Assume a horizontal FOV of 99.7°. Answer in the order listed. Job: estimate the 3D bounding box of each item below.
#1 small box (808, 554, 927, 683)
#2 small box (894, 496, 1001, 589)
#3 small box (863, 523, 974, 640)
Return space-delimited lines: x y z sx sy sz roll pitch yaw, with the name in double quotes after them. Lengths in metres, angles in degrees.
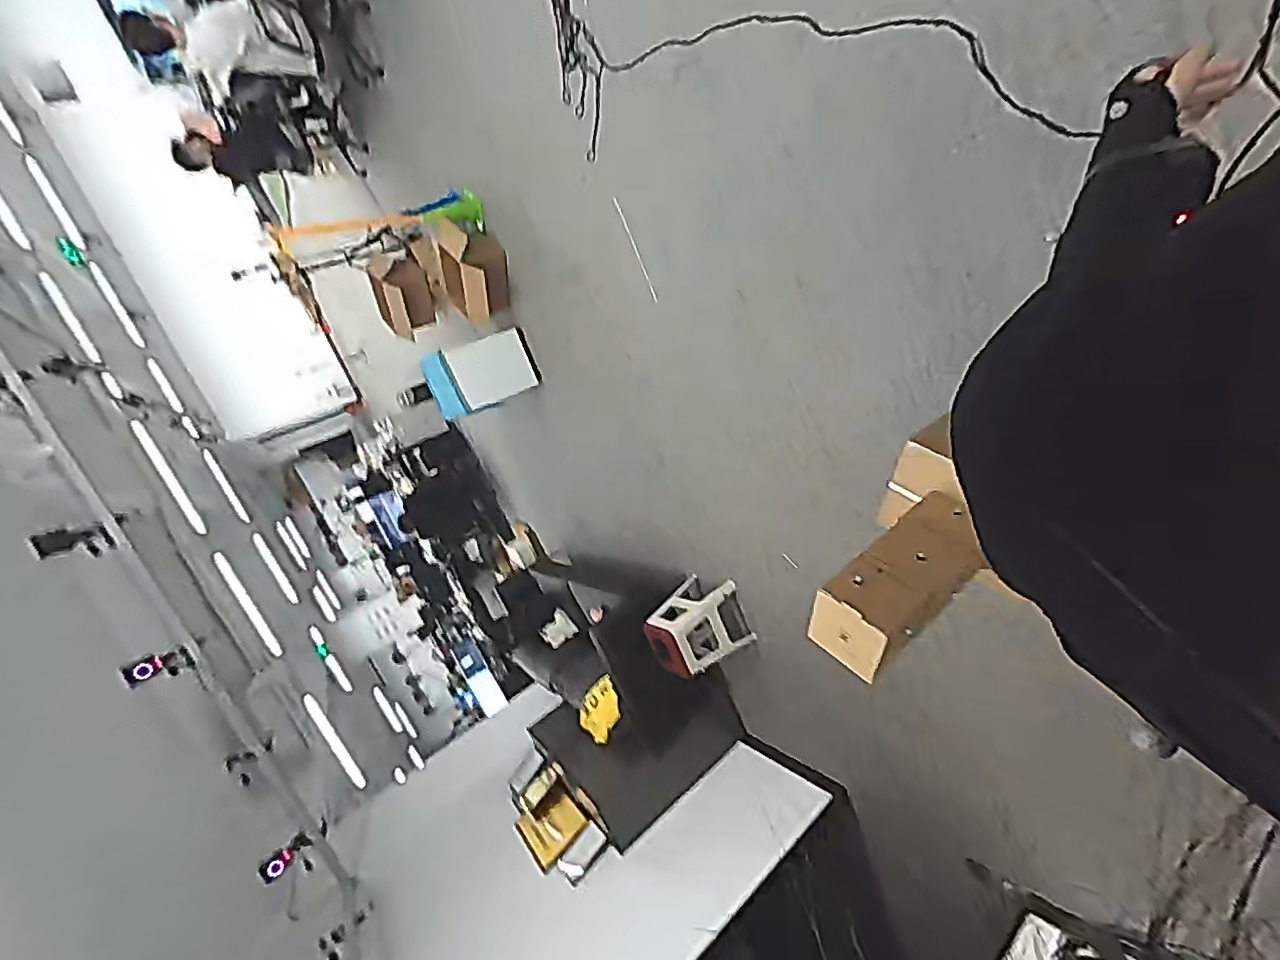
0.495 0.295 1.181 0.168 0.176 0.179 36 145 39 "small box"
0.746 0.161 1.343 0.179 0.176 0.168 35 144 41 "small box"
0.624 0.224 1.251 0.179 0.176 0.168 37 144 37 "small box"
